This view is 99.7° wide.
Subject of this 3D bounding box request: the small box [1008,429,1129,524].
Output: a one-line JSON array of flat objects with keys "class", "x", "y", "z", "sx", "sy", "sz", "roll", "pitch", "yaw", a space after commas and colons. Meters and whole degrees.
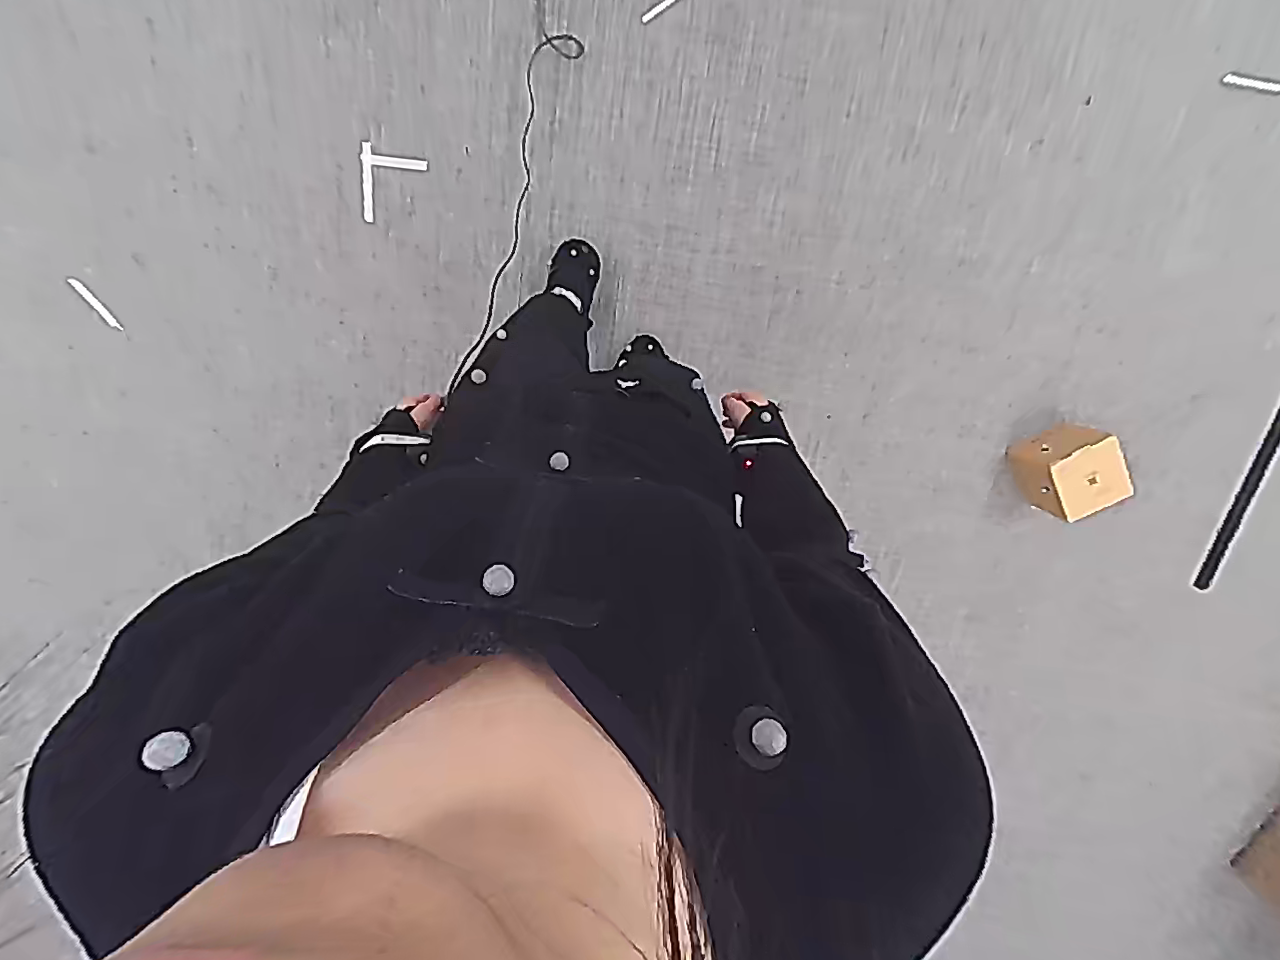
[{"class": "small box", "x": 1.107, "y": -0.019, "z": 1.411, "sx": 0.168, "sy": 0.176, "sz": 0.179, "roll": -28, "pitch": 105, "yaw": 9}]
